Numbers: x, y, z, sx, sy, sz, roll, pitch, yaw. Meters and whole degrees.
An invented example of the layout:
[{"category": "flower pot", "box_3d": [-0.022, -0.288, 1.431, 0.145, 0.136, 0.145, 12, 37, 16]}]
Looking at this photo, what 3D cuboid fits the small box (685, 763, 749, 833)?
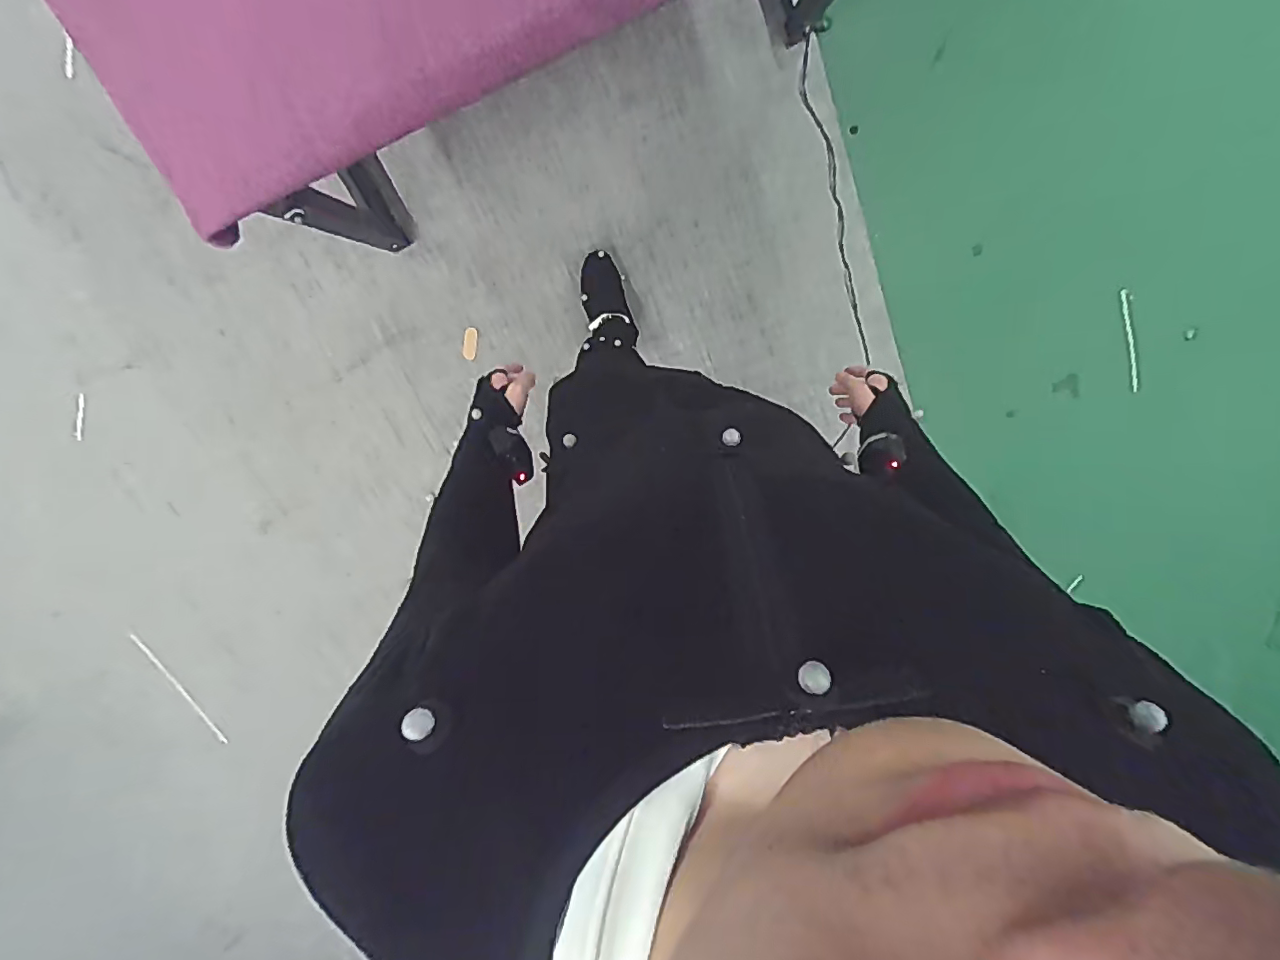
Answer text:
[{"category": "small box", "box_3d": [0.264, 1.147, 1.916, 0.179, 0.176, 0.168, -20, 107, 3]}]
